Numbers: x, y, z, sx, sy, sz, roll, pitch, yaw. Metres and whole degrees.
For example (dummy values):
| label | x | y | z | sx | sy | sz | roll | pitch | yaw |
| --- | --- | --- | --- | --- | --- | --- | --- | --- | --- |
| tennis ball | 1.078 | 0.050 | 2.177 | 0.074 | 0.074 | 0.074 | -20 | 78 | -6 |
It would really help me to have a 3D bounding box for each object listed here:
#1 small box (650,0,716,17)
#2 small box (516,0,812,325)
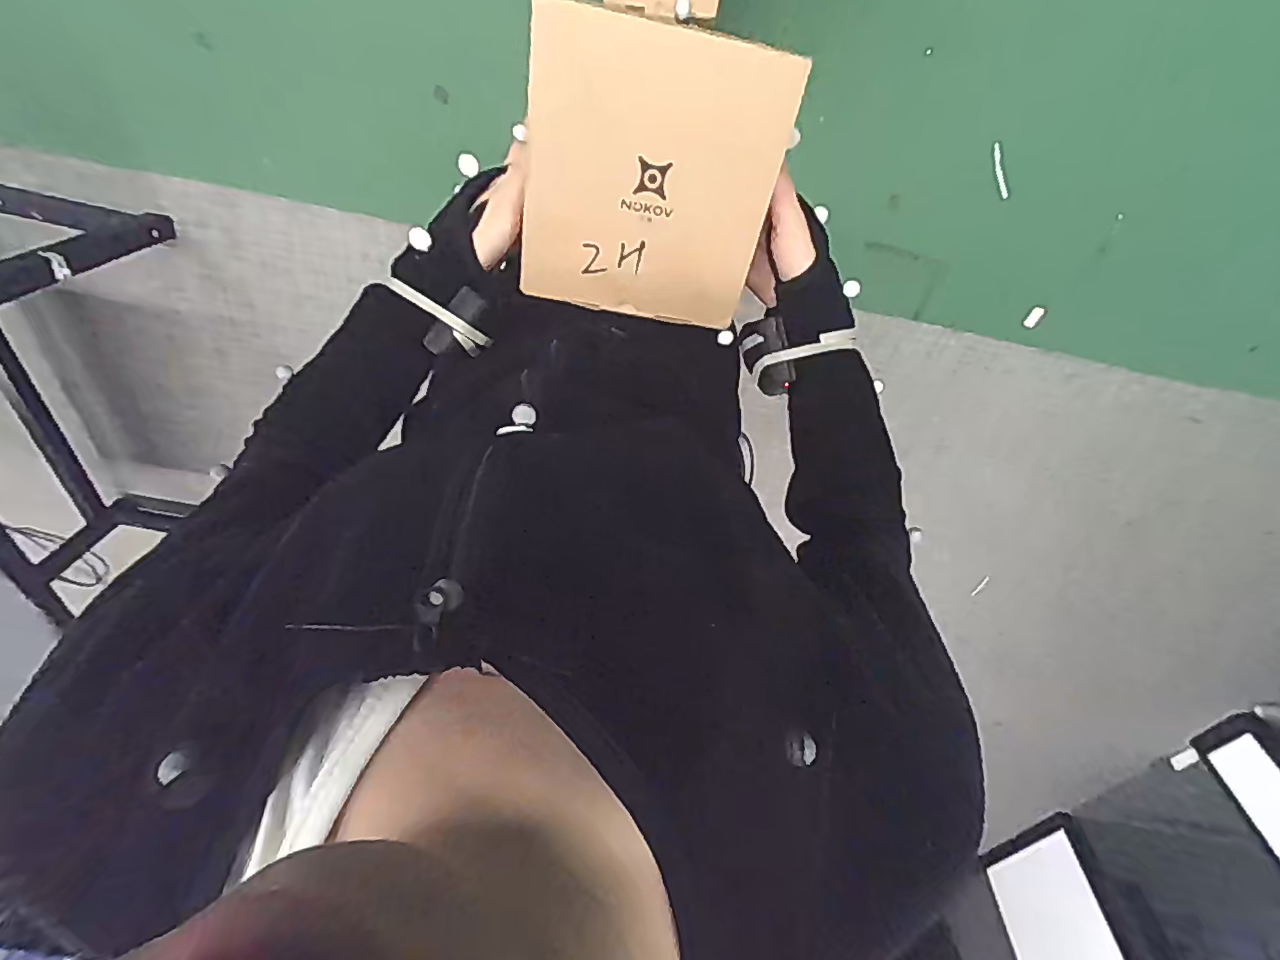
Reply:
| label | x | y | z | sx | sy | sz | roll | pitch | yaw |
| --- | --- | --- | --- | --- | --- | --- | --- | --- | --- |
| small box | 0.039 | -0.792 | 0.779 | 0.168 | 0.176 | 0.179 | 7 | 130 | -1 |
| small box | 0.004 | -0.249 | 0.418 | 0.168 | 0.176 | 0.179 | 9 | 130 | -8 |
